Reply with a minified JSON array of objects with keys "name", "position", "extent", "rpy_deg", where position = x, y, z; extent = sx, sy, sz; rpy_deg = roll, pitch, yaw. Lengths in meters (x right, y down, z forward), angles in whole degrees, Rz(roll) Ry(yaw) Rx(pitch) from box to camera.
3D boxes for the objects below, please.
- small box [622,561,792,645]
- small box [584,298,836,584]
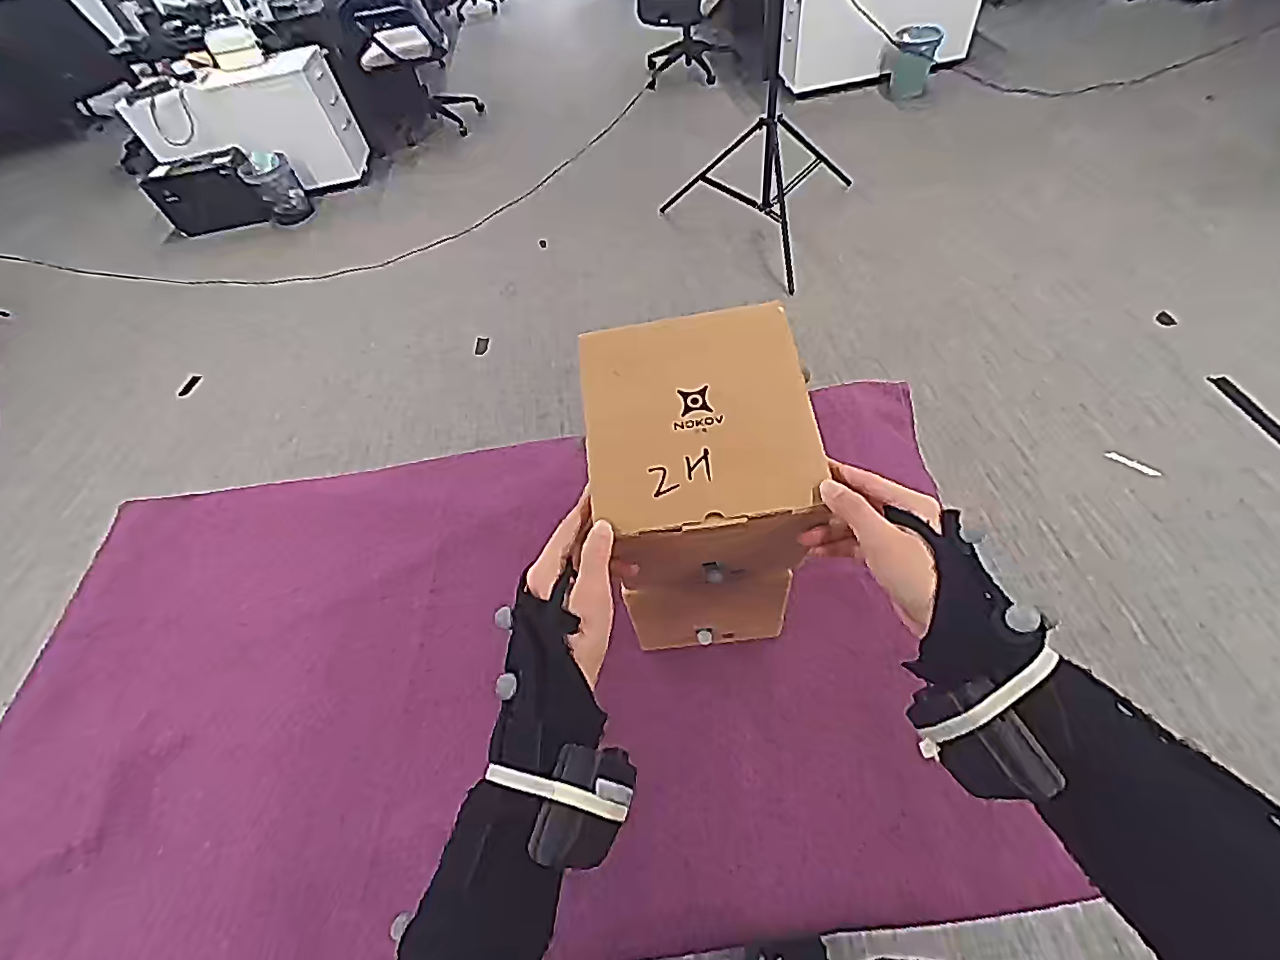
[{"name":"small box","position":[0.070,0.073,0.629],"extent":[0.168,0.176,0.179],"rpy_deg":[-7,54,4]},{"name":"small box","position":[0.051,-0.022,0.466],"extent":[0.168,0.176,0.179],"rpy_deg":[-8,65,4]}]
